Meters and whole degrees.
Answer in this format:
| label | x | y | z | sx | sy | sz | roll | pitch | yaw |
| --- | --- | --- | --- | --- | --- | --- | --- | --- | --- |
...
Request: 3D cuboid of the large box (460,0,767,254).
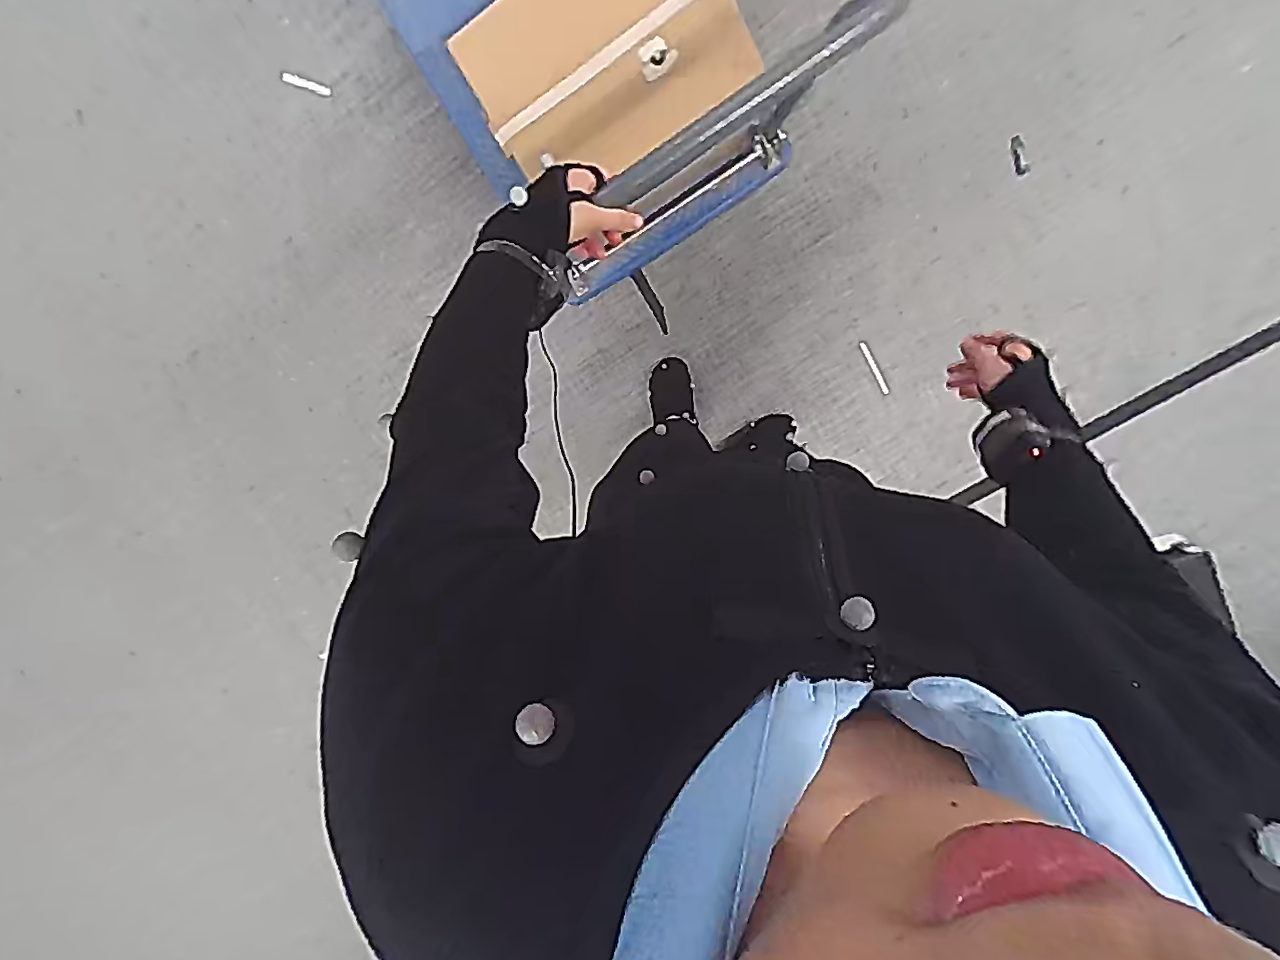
| label | x | y | z | sx | sy | sz | roll | pitch | yaw |
| --- | --- | --- | --- | --- | --- | --- | --- | --- | --- |
| large box | -0.038 | -0.684 | 0.995 | 0.408 | 0.320 | 0.320 | -30 | 102 | 10 |
